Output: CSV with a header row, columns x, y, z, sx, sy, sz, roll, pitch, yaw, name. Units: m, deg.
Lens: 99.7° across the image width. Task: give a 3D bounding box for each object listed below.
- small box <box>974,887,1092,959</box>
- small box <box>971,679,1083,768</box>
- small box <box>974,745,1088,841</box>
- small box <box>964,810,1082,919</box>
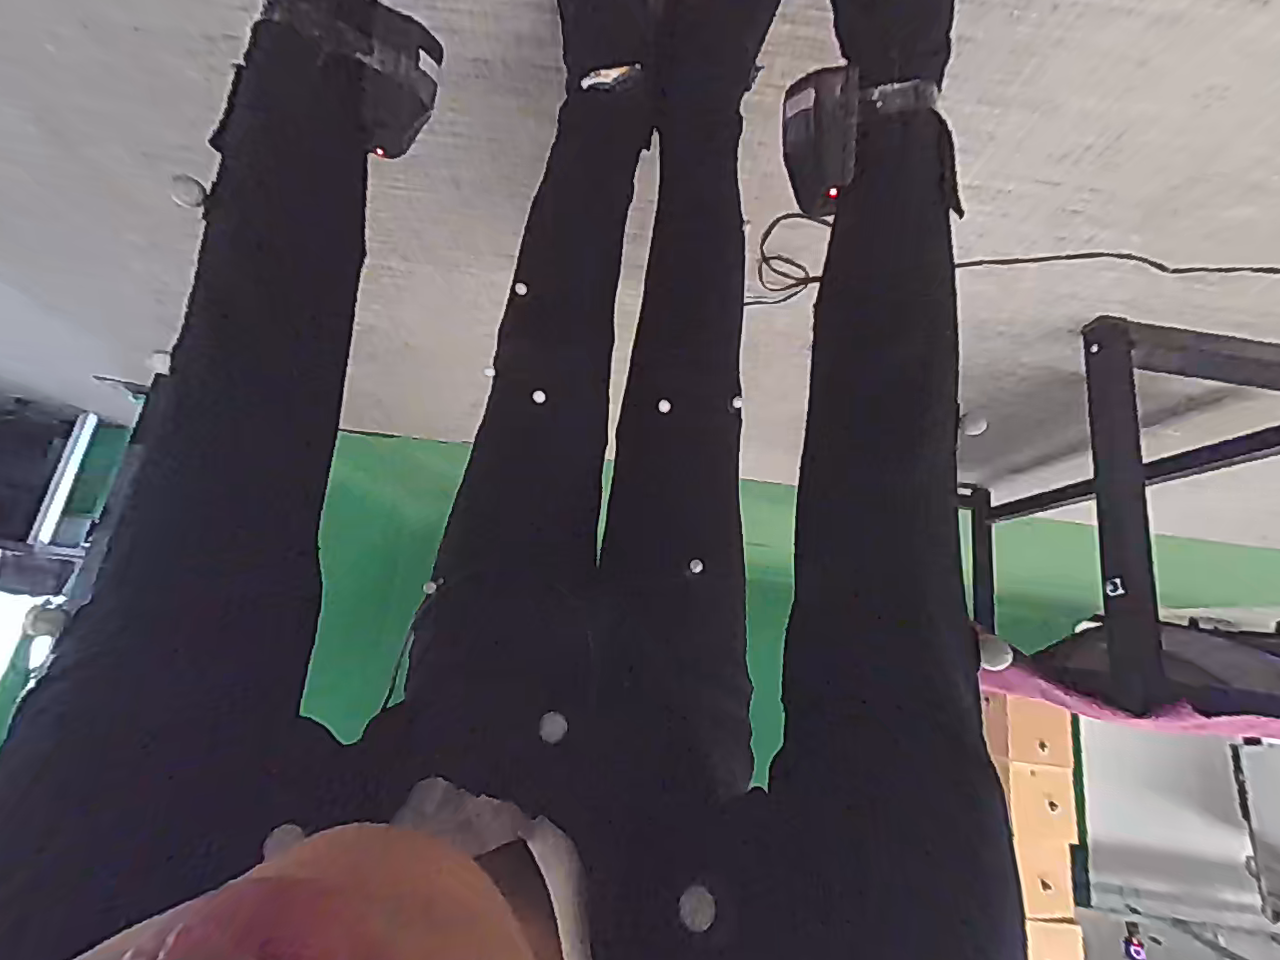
x,y,z,sx,sy,sz,roll,pitch,yaw,name
0.924,1.093,1.282,0.179,0.176,0.168,7,166,-3,small box
0.994,0.622,1.399,0.179,0.176,0.168,10,165,-5,small box
0.974,0.779,1.366,0.168,0.176,0.179,9,166,-3,small box
0.930,0.933,1.325,0.179,0.176,0.168,8,165,-6,small box
